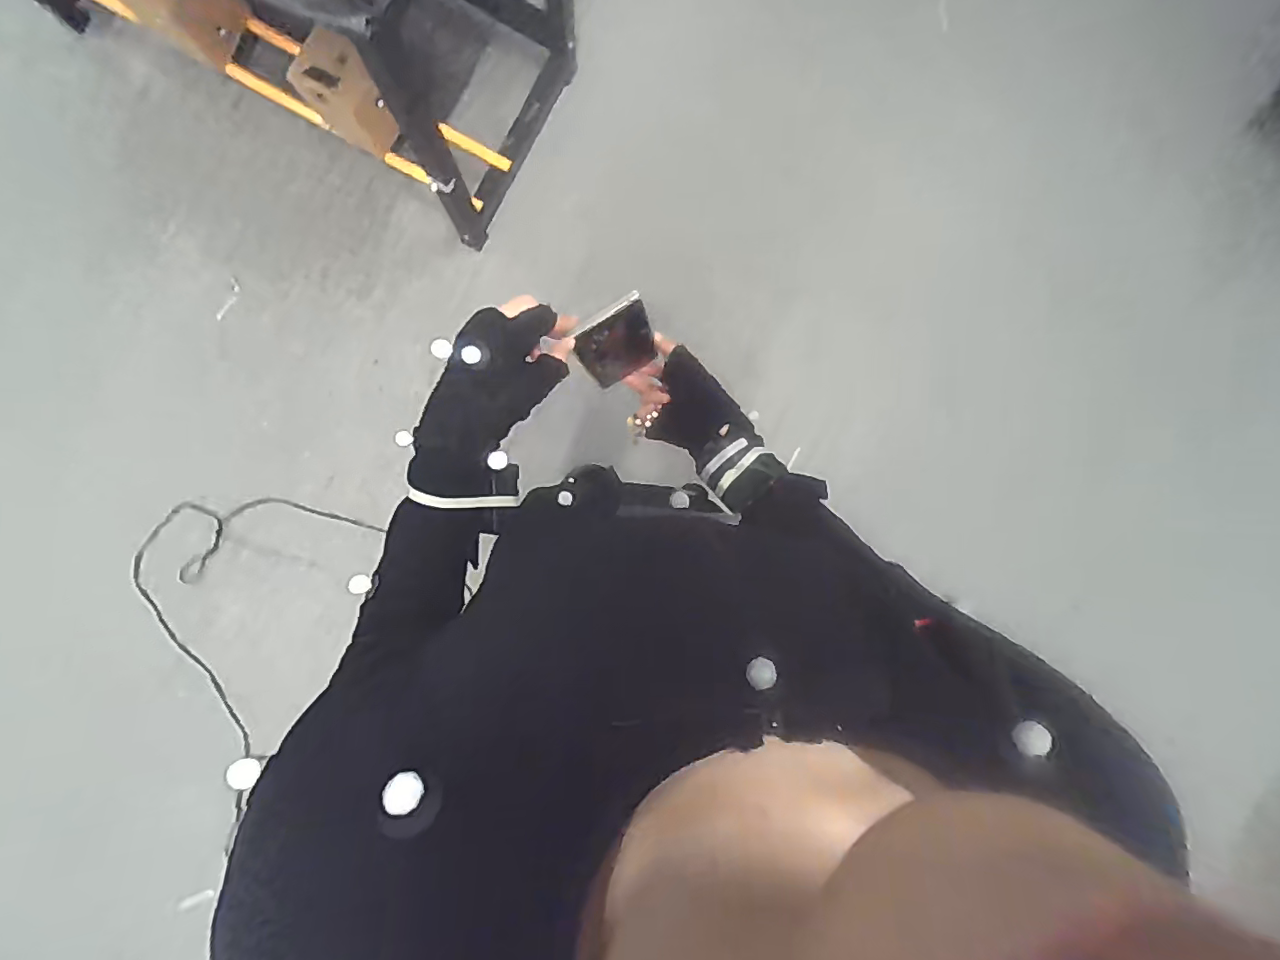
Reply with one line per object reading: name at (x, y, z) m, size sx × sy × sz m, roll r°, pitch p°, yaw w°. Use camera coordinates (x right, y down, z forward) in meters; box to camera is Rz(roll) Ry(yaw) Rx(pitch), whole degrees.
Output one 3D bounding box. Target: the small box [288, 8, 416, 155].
small box at (-0.647, -0.899, 1.241) m, size 0.168 × 0.176 × 0.179 m, roll 32°, pitch 88°, yaw -4°
